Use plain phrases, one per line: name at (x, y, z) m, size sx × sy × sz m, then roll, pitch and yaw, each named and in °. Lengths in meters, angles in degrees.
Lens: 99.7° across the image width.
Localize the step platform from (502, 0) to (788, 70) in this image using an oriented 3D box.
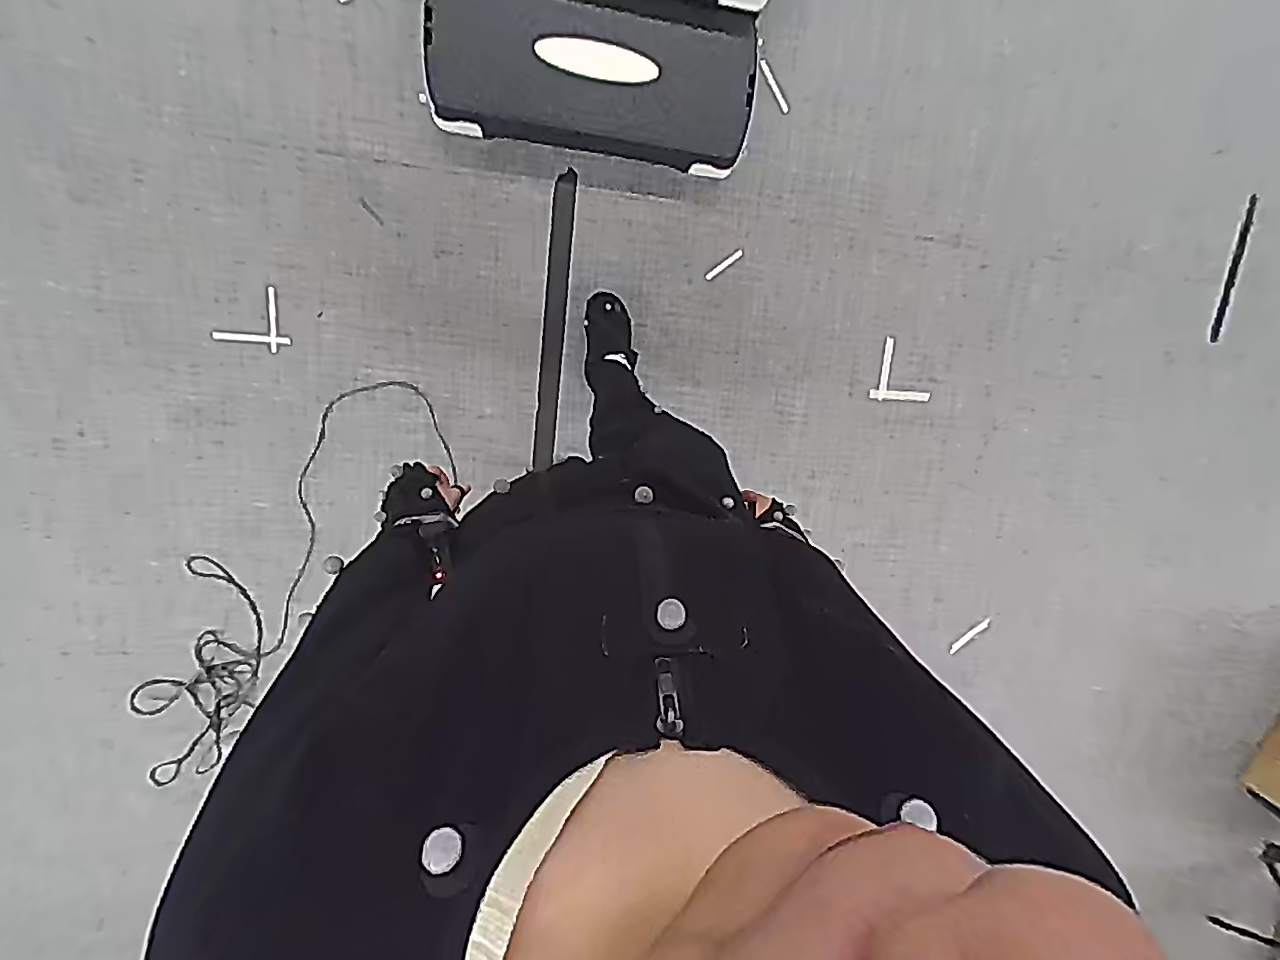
step platform at (-0.023, -1.083, 1.056) m, size 0.684 × 0.204 × 0.286 m, roll 8°, pitch 100°, yaw -11°
